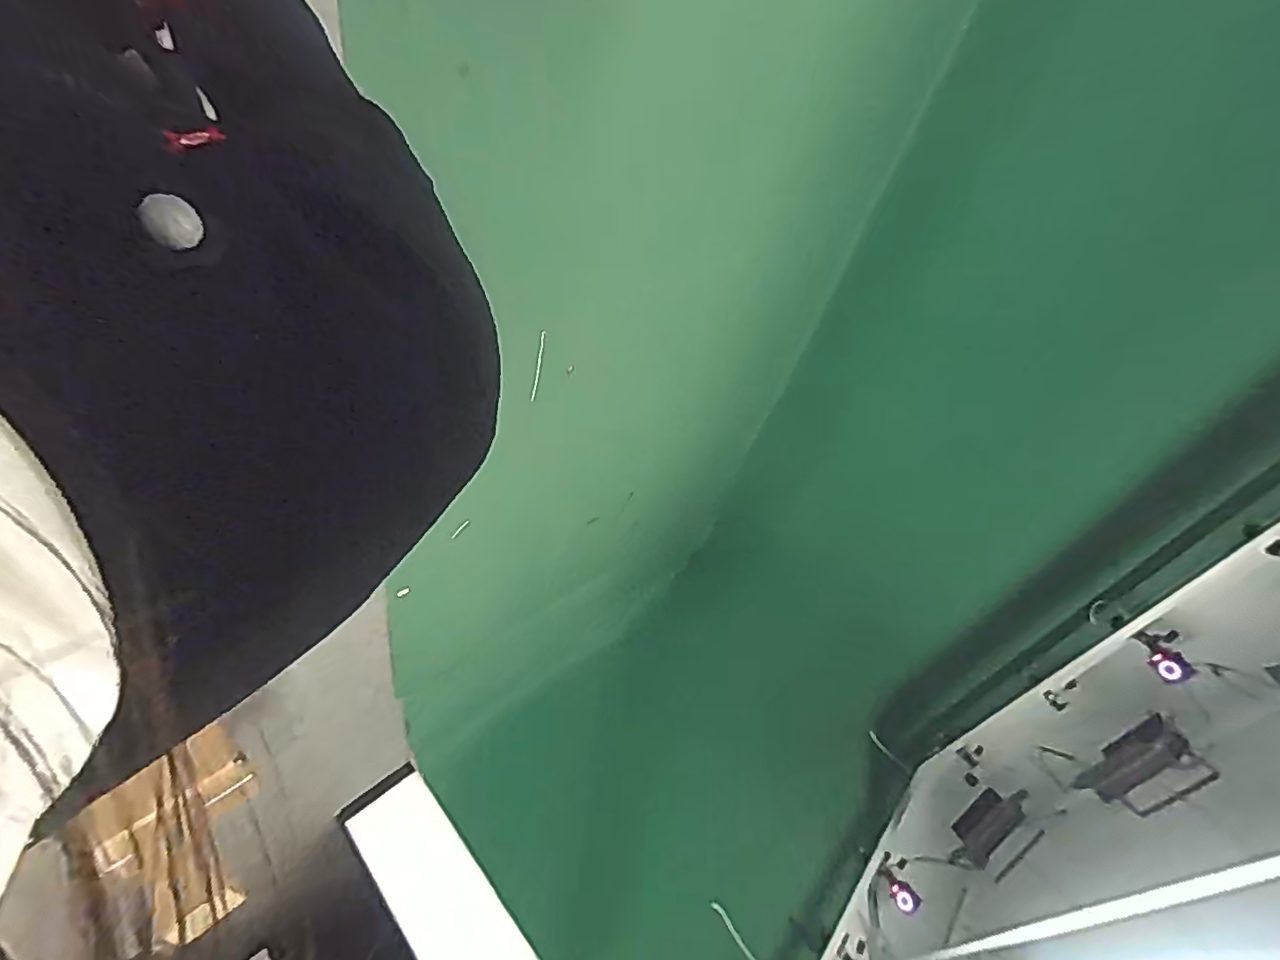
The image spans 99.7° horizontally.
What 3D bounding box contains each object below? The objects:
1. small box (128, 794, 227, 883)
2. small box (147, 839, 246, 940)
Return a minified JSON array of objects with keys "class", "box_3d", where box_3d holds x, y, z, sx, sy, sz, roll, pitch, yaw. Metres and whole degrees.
[{"class":"small box","box_3d":[-1.467,1.146,1.717,0.179,0.176,0.168,-28,147,-37]},{"class":"small box","box_3d":[-1.354,1.244,1.652,0.168,0.176,0.179,-30,148,-37]}]
